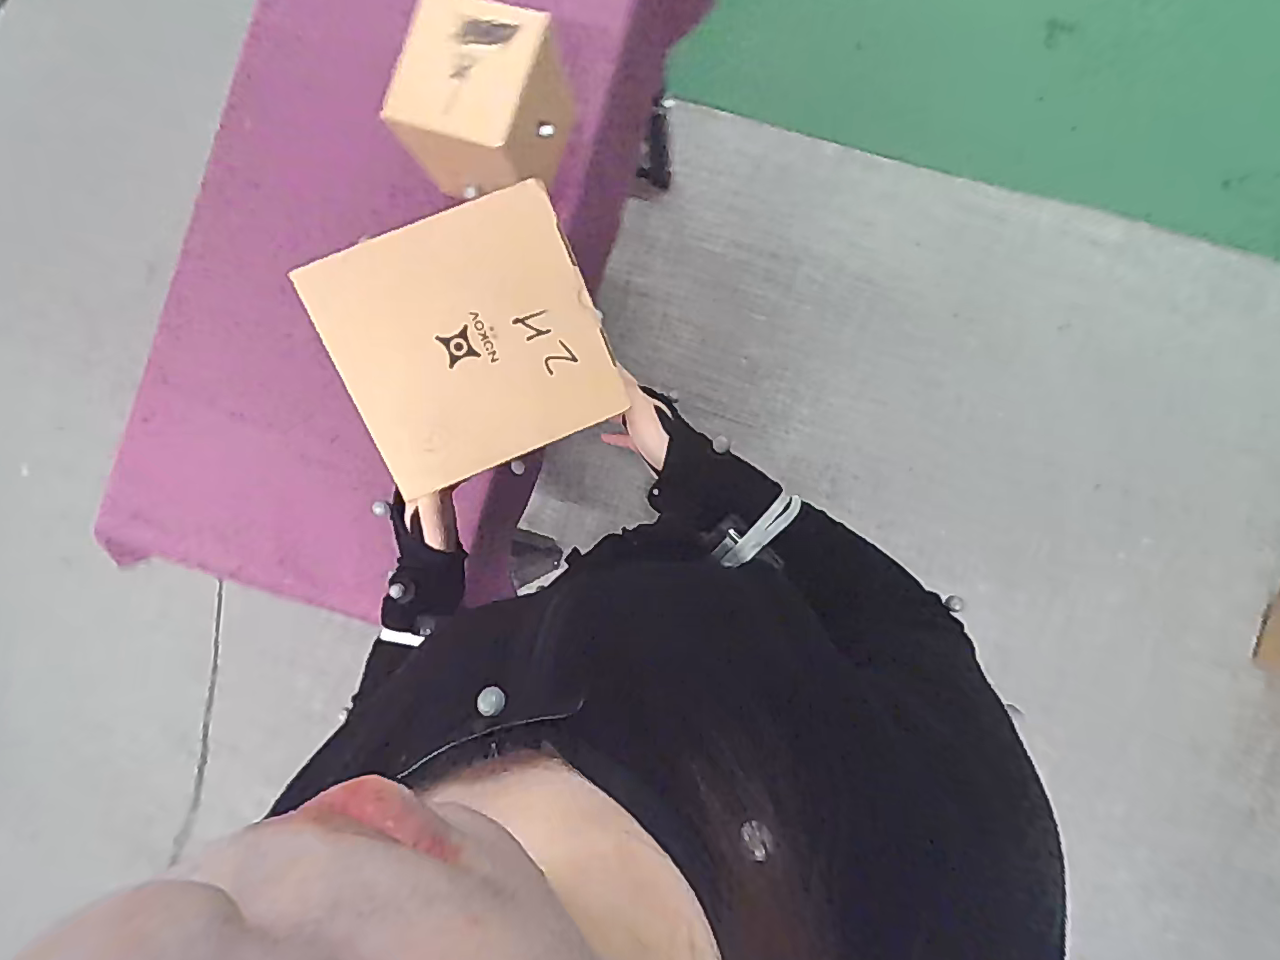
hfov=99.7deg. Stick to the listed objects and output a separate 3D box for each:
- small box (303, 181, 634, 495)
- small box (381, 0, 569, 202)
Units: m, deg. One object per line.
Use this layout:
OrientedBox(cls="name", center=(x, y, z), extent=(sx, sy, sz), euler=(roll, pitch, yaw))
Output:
OrientedBox(cls="small box", center=(-0.119, -0.104, 0.443), extent=(0.179, 0.176, 0.168), euler=(-22, 102, -4))
OrientedBox(cls="small box", center=(-0.208, -0.499, 0.734), extent=(0.168, 0.176, 0.179), euler=(19, 91, 7))
